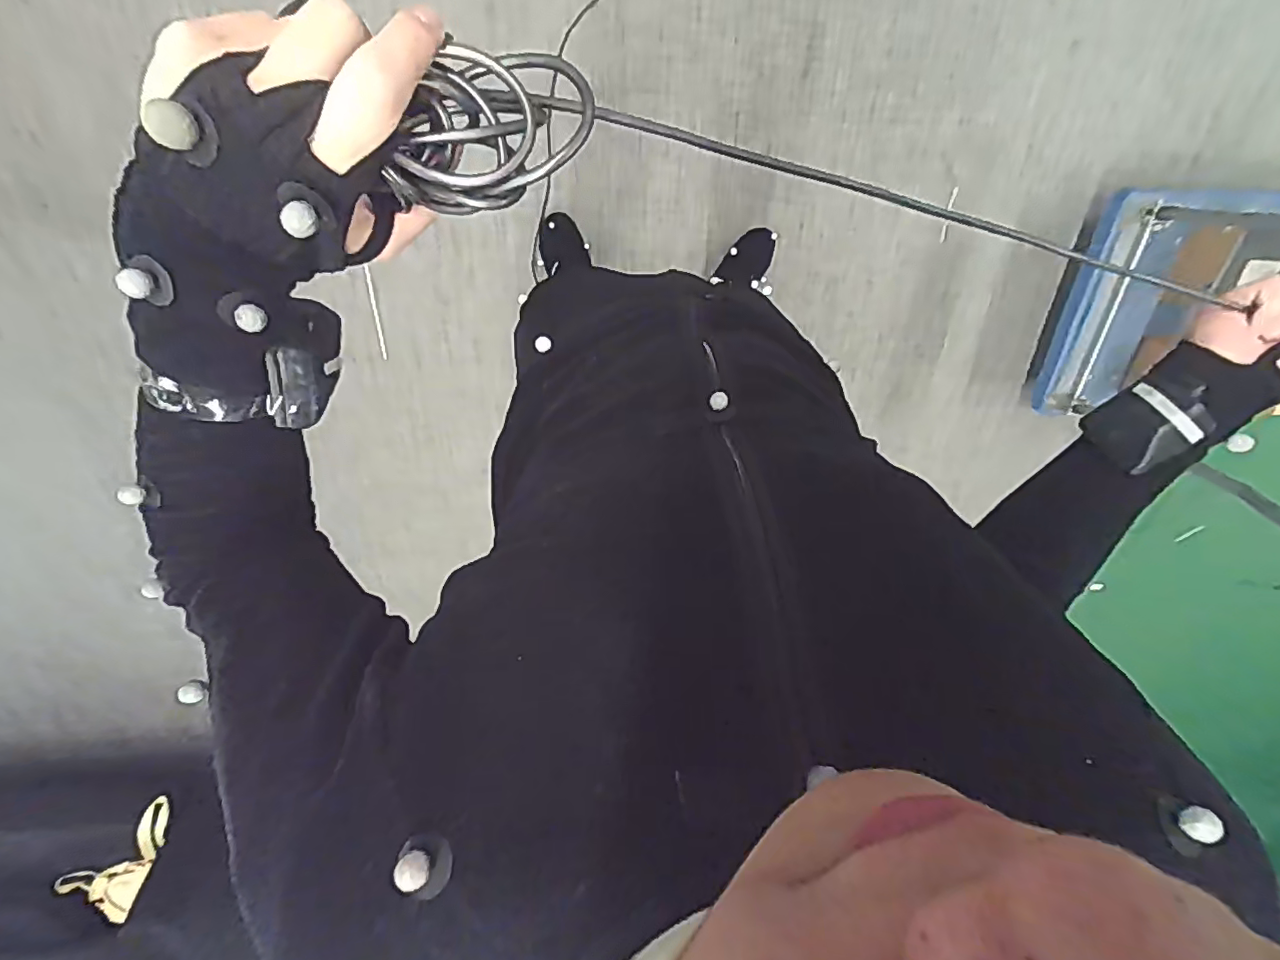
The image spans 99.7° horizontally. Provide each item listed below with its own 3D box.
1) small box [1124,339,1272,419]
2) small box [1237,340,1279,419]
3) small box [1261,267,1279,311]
[{"bbox_3d":[1.457,-0.271,1.425,0.179,0.176,0.168,0,119,-4],"label":"small box"},{"bbox_3d":[1.726,-0.275,1.443,0.179,0.176,0.168,-4,119,-1],"label":"small box"},{"bbox_3d":[1.713,-0.494,1.320,0.179,0.176,0.168,-4,120,-2],"label":"small box"}]
